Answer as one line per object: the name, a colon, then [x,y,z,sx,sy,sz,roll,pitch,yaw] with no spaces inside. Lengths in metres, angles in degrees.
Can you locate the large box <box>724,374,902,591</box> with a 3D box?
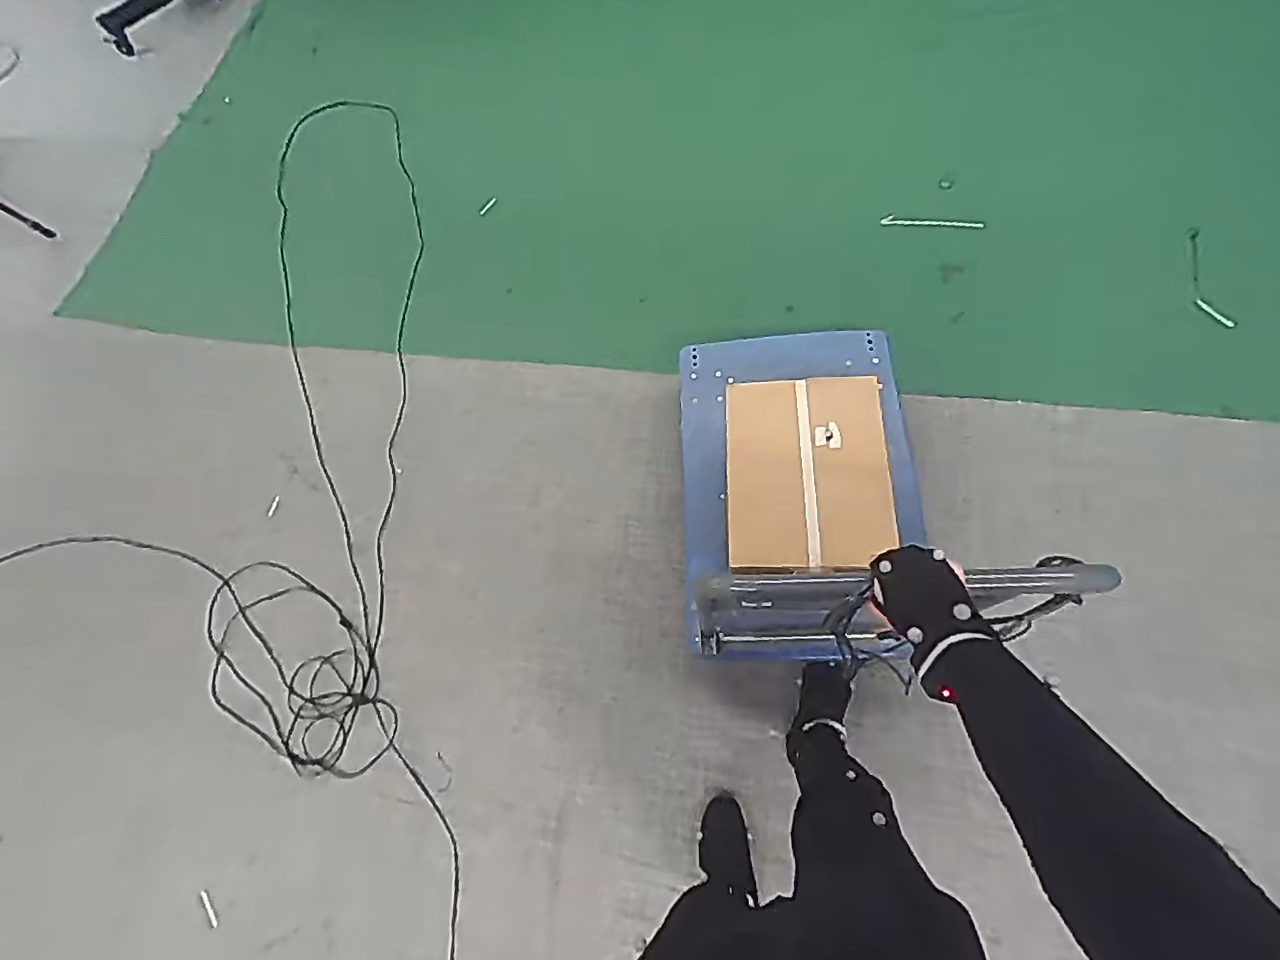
large box: [0.353,0.023,1.206,0.320,0.320,0.408,-1,69,9]
